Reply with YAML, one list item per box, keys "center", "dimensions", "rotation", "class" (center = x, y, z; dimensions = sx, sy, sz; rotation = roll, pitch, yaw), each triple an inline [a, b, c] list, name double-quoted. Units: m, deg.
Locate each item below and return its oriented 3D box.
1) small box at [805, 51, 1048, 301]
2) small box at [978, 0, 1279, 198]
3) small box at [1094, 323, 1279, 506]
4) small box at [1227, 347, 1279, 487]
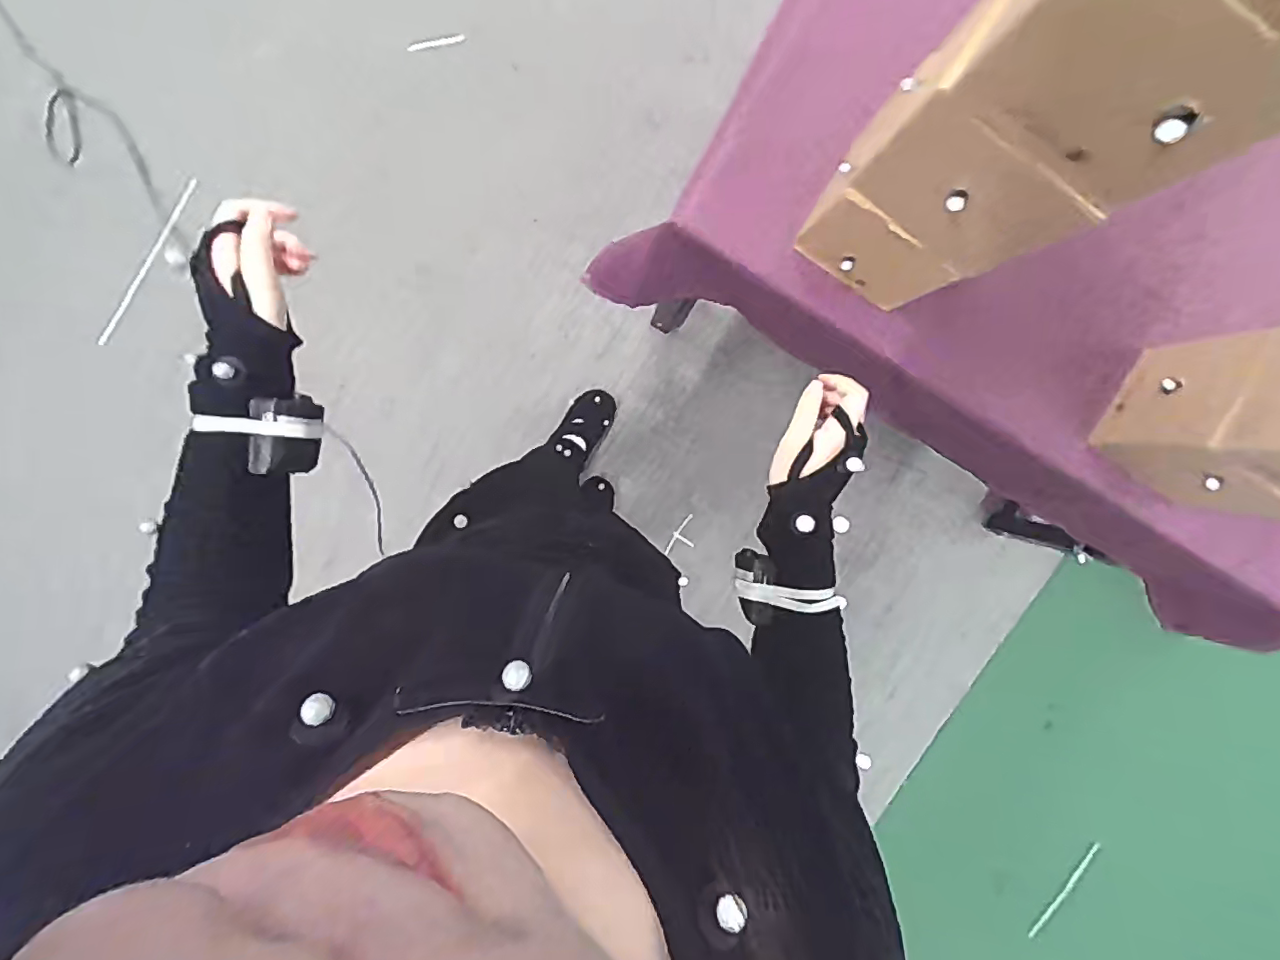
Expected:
- center: [0.334, -0.352, 0.666]
  dimensions: [0.168, 0.176, 0.179]
  rotation: [31, 93, -6]
  class: "small box"
- center: [0.361, -0.322, 0.341]
  dimensions: [0.168, 0.176, 0.179]
  rotation: [33, 92, -7]
  class: "small box"
- center: [0.775, -0.078, 0.720]
  dimensions: [0.179, 0.176, 0.168]
  rotation: [32, 93, -6]
  class: "small box"
- center: [0.790, -0.070, 0.556]
  dimensions: [0.168, 0.176, 0.179]
  rotation: [29, 94, -5]
  class: "small box"
